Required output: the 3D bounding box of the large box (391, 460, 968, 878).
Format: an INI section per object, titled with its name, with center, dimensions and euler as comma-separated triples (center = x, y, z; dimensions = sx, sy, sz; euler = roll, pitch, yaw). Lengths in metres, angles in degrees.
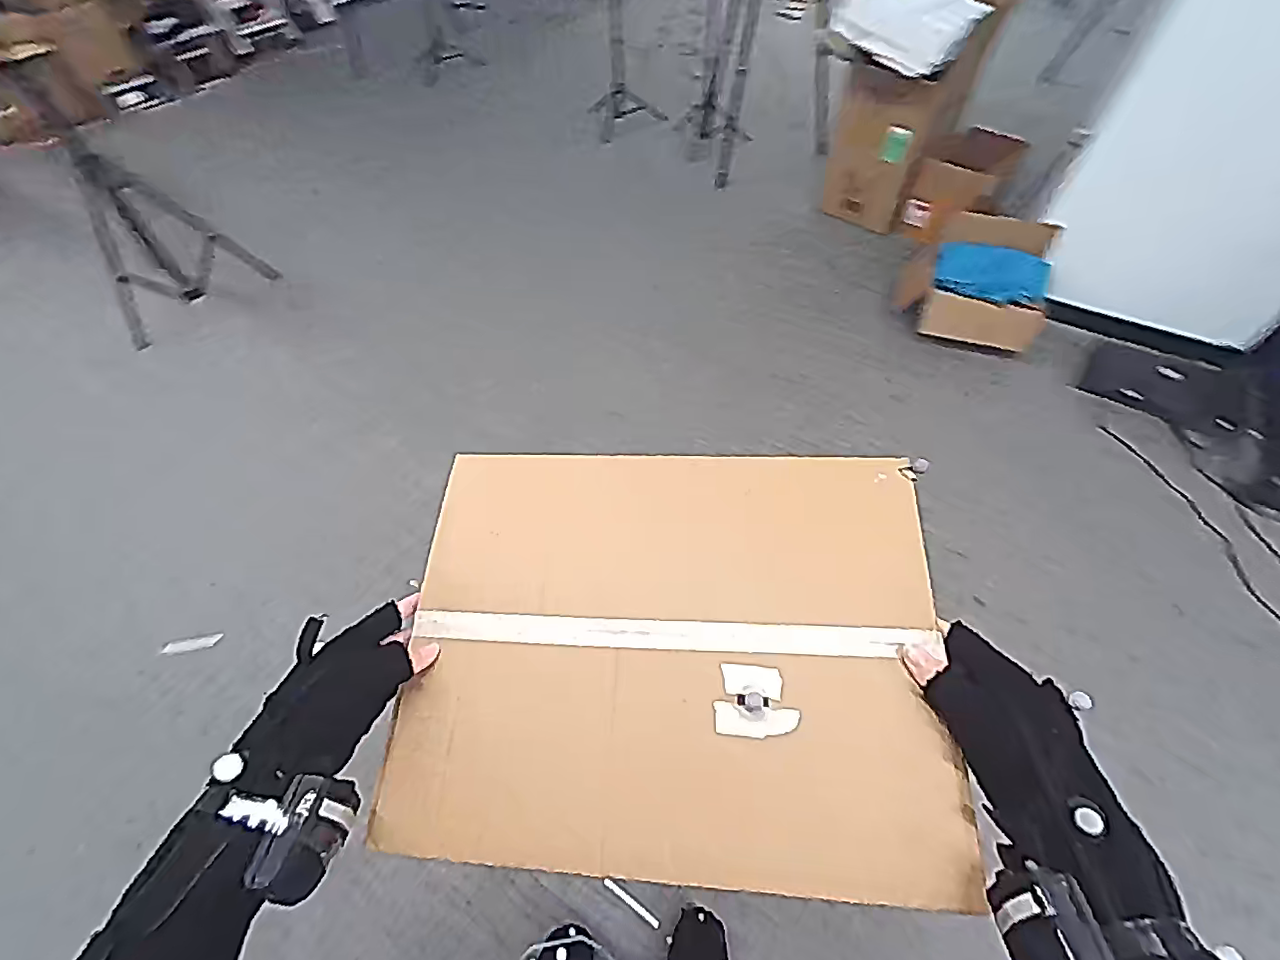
[large box]
center = 0.034, 0.188, 0.565
dimensions = 0.408, 0.320, 0.320
euler = 0, 65, 6
